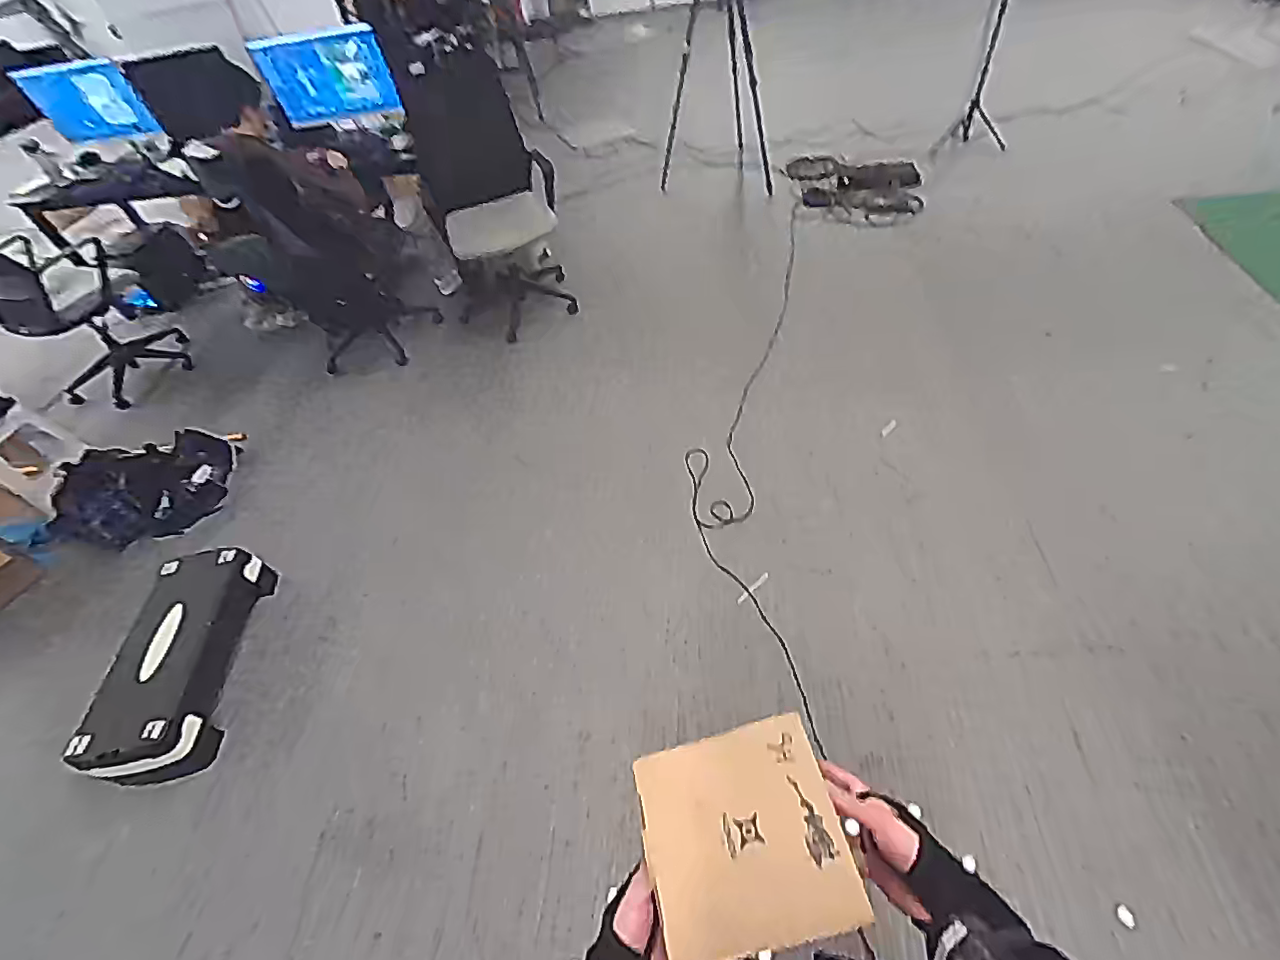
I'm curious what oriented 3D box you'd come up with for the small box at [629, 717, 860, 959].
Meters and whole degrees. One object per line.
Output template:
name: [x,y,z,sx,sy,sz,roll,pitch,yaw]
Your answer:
small box: [0.107,0.361,0.550,0.179,0.176,0.168,-19,54,8]
